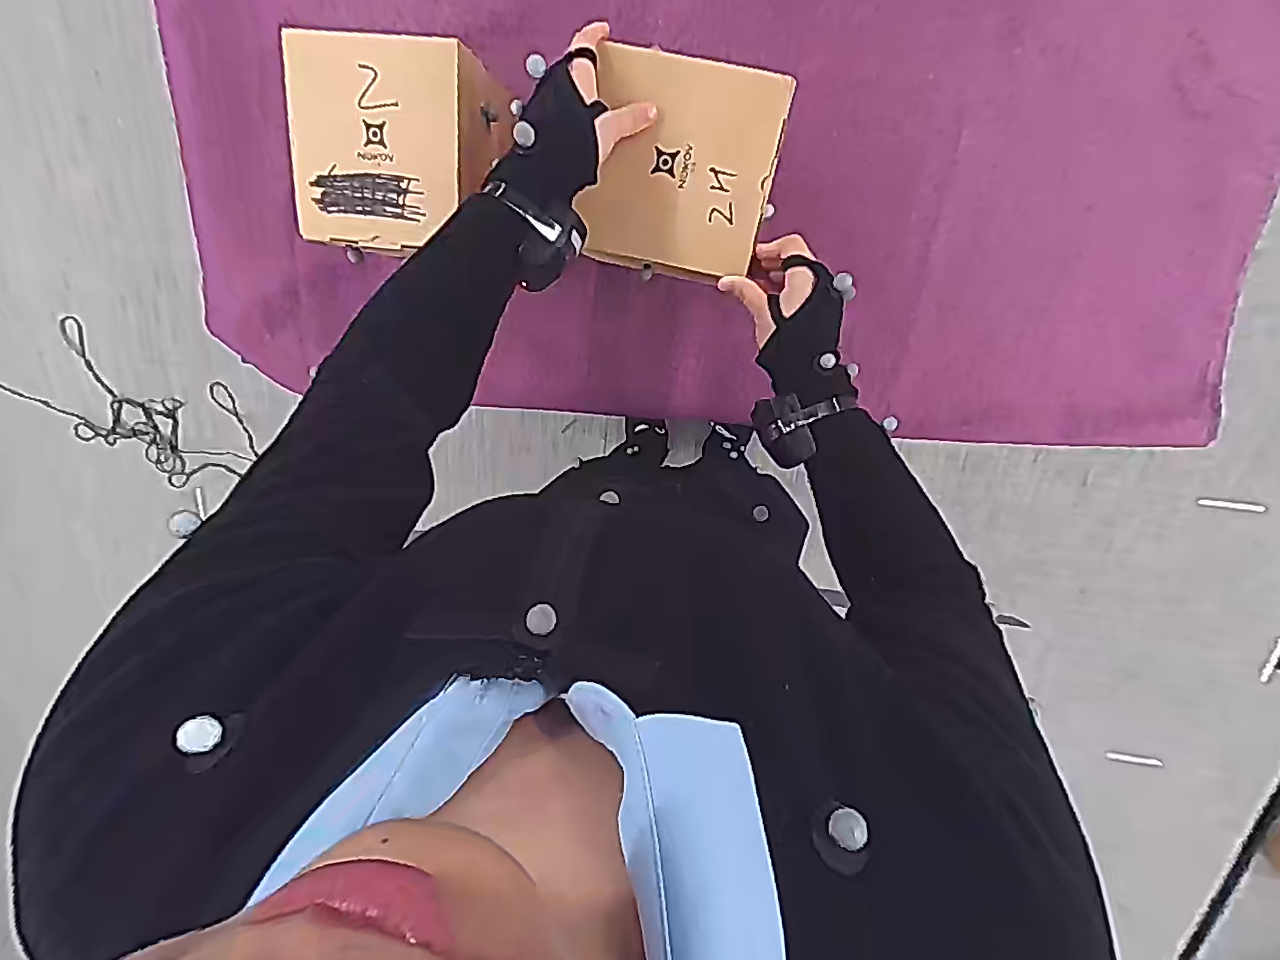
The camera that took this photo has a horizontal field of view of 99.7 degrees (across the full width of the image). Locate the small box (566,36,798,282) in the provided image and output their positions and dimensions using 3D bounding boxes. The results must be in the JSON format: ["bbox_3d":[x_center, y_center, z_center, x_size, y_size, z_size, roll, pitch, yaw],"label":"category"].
[{"bbox_3d":[0.040,-0.305,0.553,0.179,0.176,0.168,13,108,2],"label":"small box"}]
